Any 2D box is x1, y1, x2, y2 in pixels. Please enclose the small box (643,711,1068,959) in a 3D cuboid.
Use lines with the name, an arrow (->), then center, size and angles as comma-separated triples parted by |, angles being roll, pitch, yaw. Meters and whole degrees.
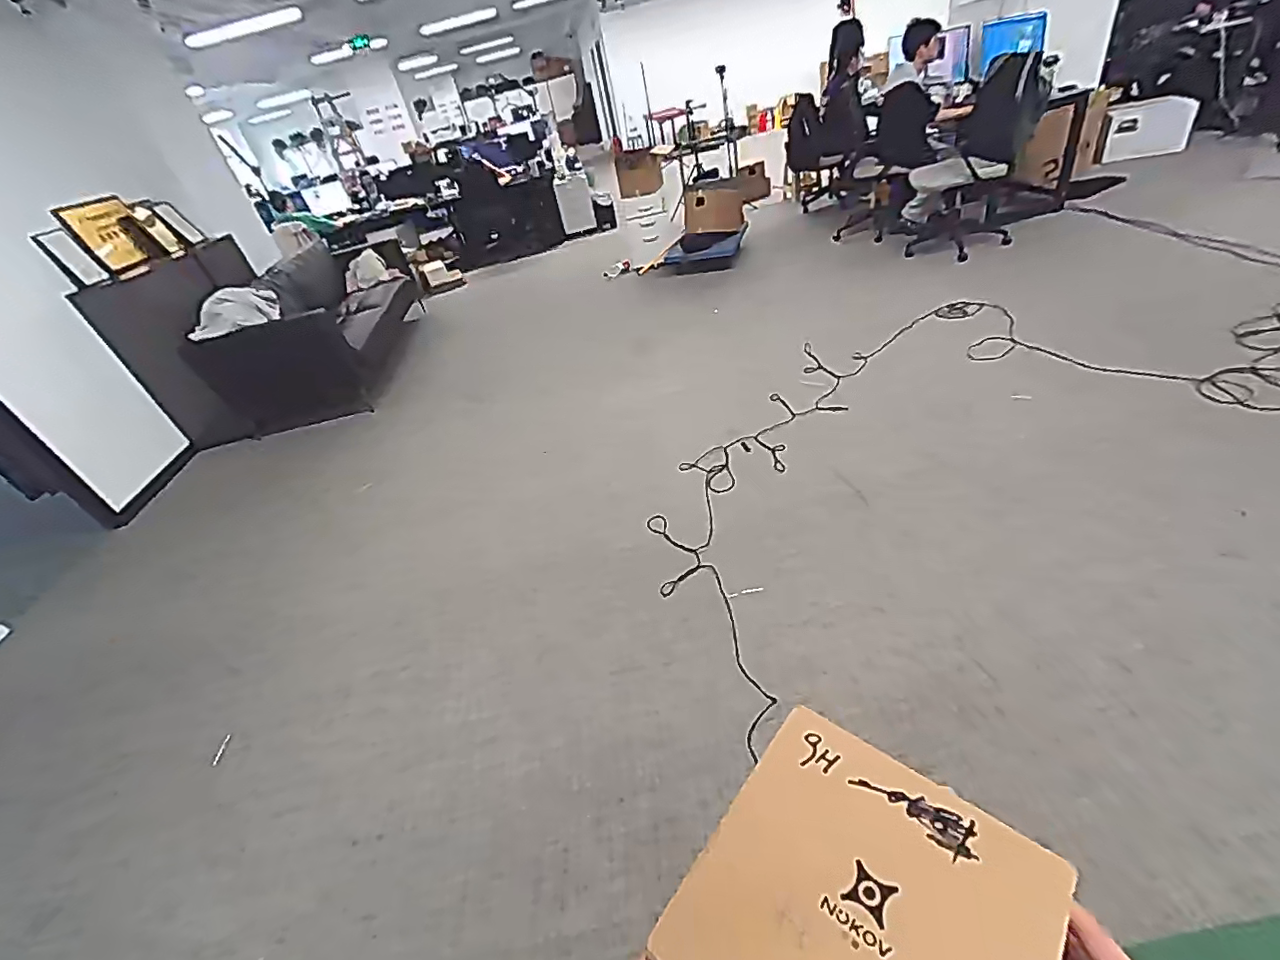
small box -> 0.129, 0.297, 0.340 | 0.168, 0.176, 0.179 | 22, 47, 36
